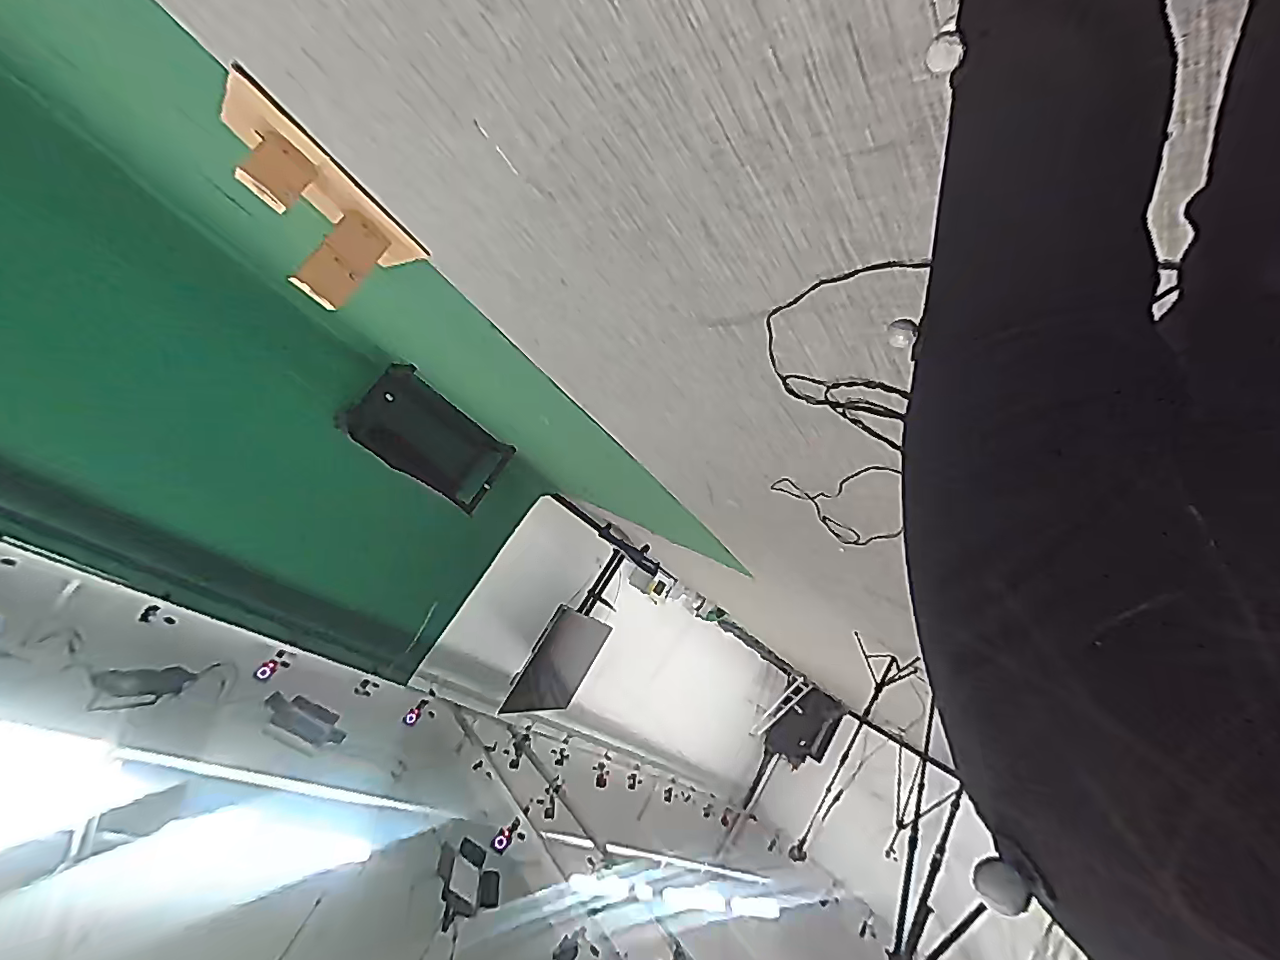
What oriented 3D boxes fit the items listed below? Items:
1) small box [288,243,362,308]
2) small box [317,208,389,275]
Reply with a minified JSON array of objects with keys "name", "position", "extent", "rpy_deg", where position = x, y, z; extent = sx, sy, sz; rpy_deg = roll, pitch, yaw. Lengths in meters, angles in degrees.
[{"name":"small box","position":[-1.182,-0.770,2.036],"extent":[0.179,0.176,0.168],"rpy_deg":[21,164,48]},{"name":"small box","position":[-1.096,-0.906,2.066],"extent":[0.179,0.176,0.168],"rpy_deg":[19,163,49]}]
